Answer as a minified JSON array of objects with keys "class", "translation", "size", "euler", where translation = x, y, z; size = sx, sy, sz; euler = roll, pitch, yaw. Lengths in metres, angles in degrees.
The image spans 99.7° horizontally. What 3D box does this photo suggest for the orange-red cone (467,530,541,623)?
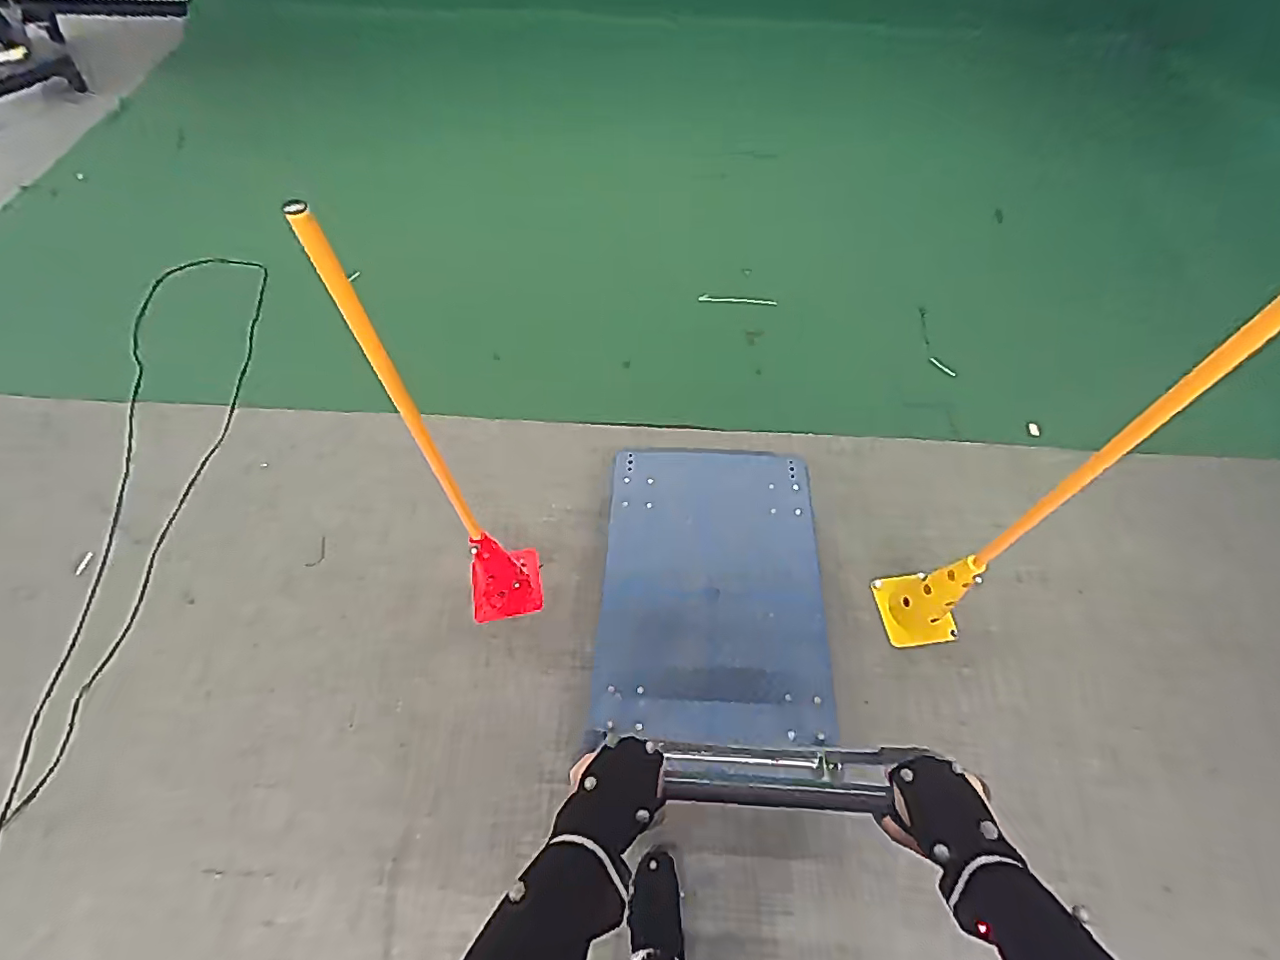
[{"class":"orange-red cone","translation":[-0.395,0.226,1.439],"size":[0.199,0.360,0.198],"euler":[-10,60,-5]}]
